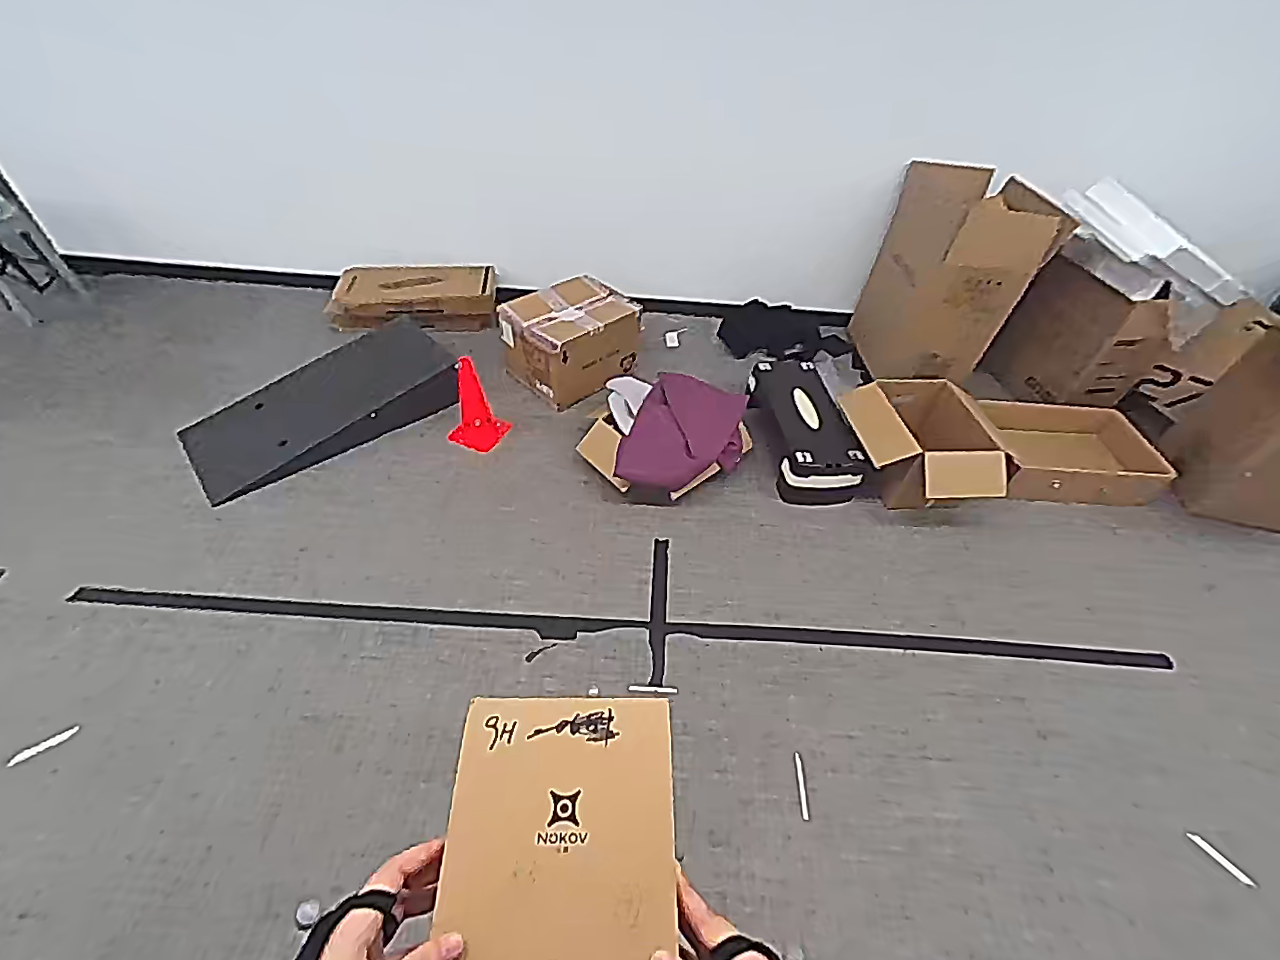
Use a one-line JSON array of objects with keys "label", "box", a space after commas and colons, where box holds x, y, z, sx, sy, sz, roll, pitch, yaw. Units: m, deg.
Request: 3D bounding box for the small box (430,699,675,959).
[{"label": "small box", "box": [-0.058, 0.297, 0.462, 0.168, 0.176, 0.179, 0, 55, -2]}]
